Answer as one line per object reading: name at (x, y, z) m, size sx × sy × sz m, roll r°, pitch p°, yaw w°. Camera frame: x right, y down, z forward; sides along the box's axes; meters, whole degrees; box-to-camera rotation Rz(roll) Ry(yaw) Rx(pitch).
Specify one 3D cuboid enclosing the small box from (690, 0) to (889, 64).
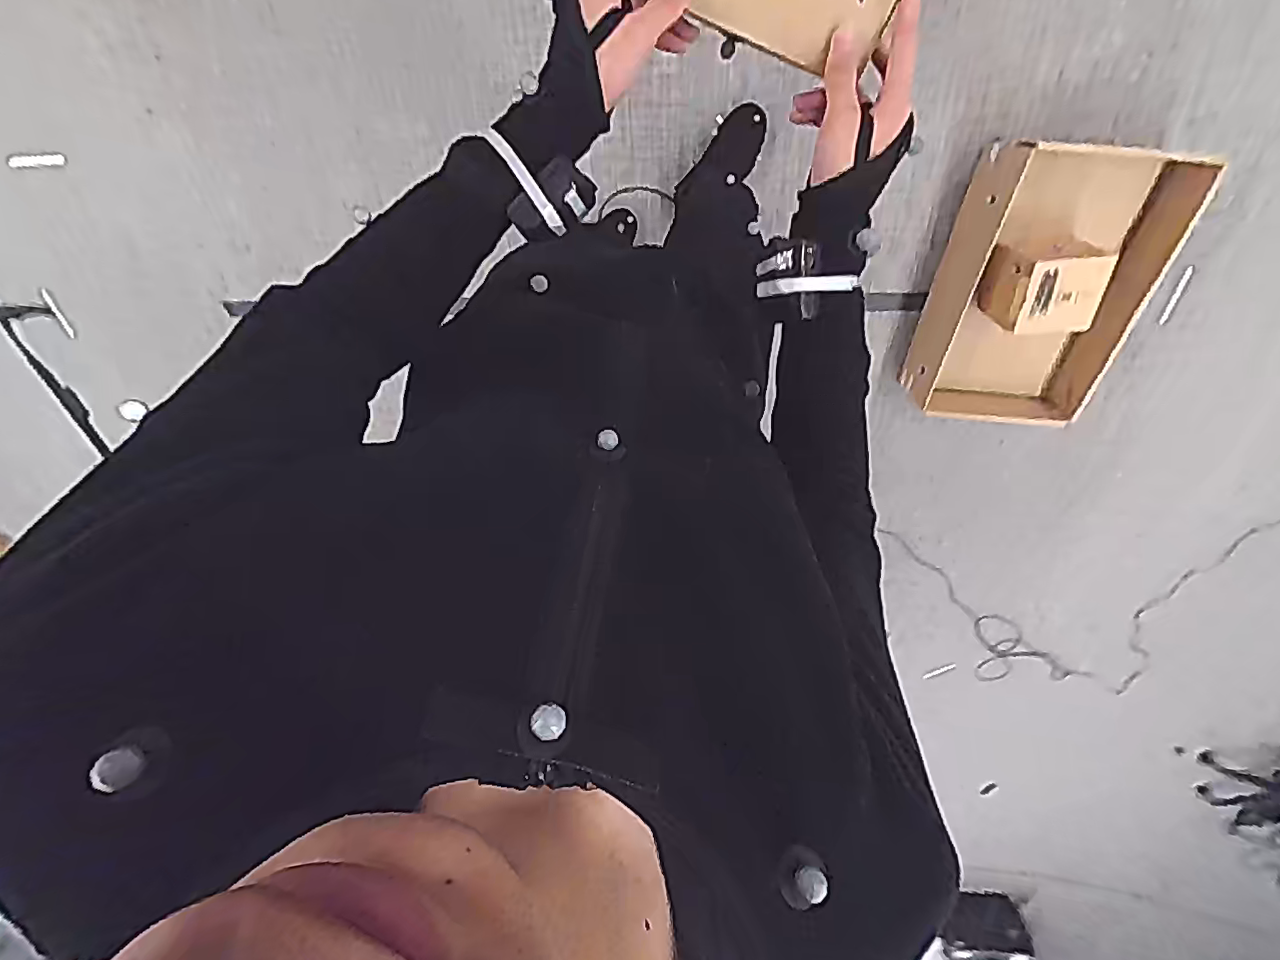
small box at (0.106, -0.437, 0.393) m, size 0.179 × 0.176 × 0.168 m, roll 15°, pitch 131°, yaw -11°
